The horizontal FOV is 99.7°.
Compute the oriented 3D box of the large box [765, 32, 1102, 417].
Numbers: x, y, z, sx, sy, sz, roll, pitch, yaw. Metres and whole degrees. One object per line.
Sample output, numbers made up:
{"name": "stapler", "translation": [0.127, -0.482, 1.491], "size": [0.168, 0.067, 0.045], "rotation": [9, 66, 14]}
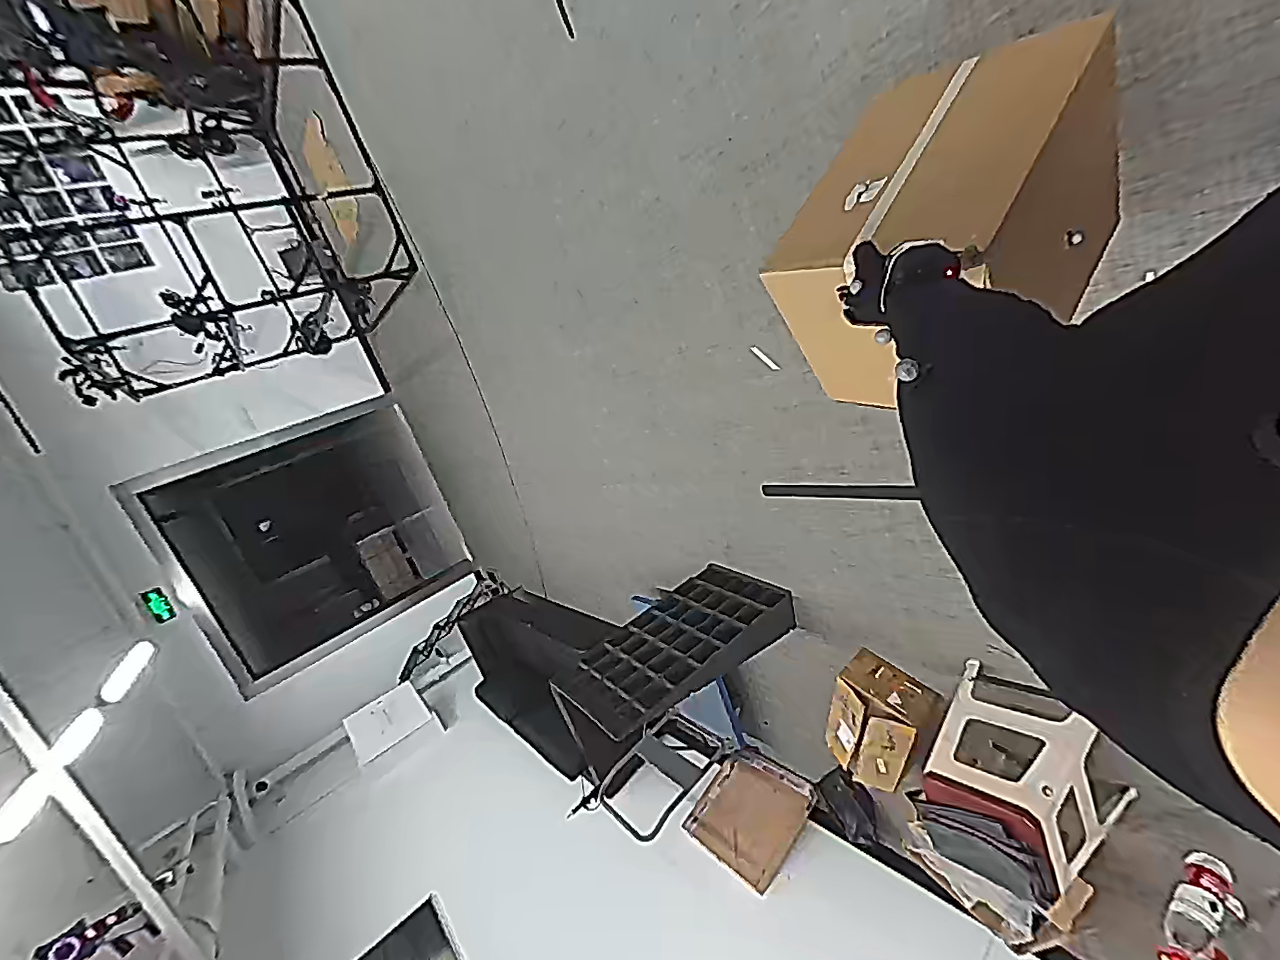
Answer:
{"name": "large box", "translation": [0.472, -0.363, 0.852], "size": [0.320, 0.408, 0.320], "rotation": [18, 162, 50]}
